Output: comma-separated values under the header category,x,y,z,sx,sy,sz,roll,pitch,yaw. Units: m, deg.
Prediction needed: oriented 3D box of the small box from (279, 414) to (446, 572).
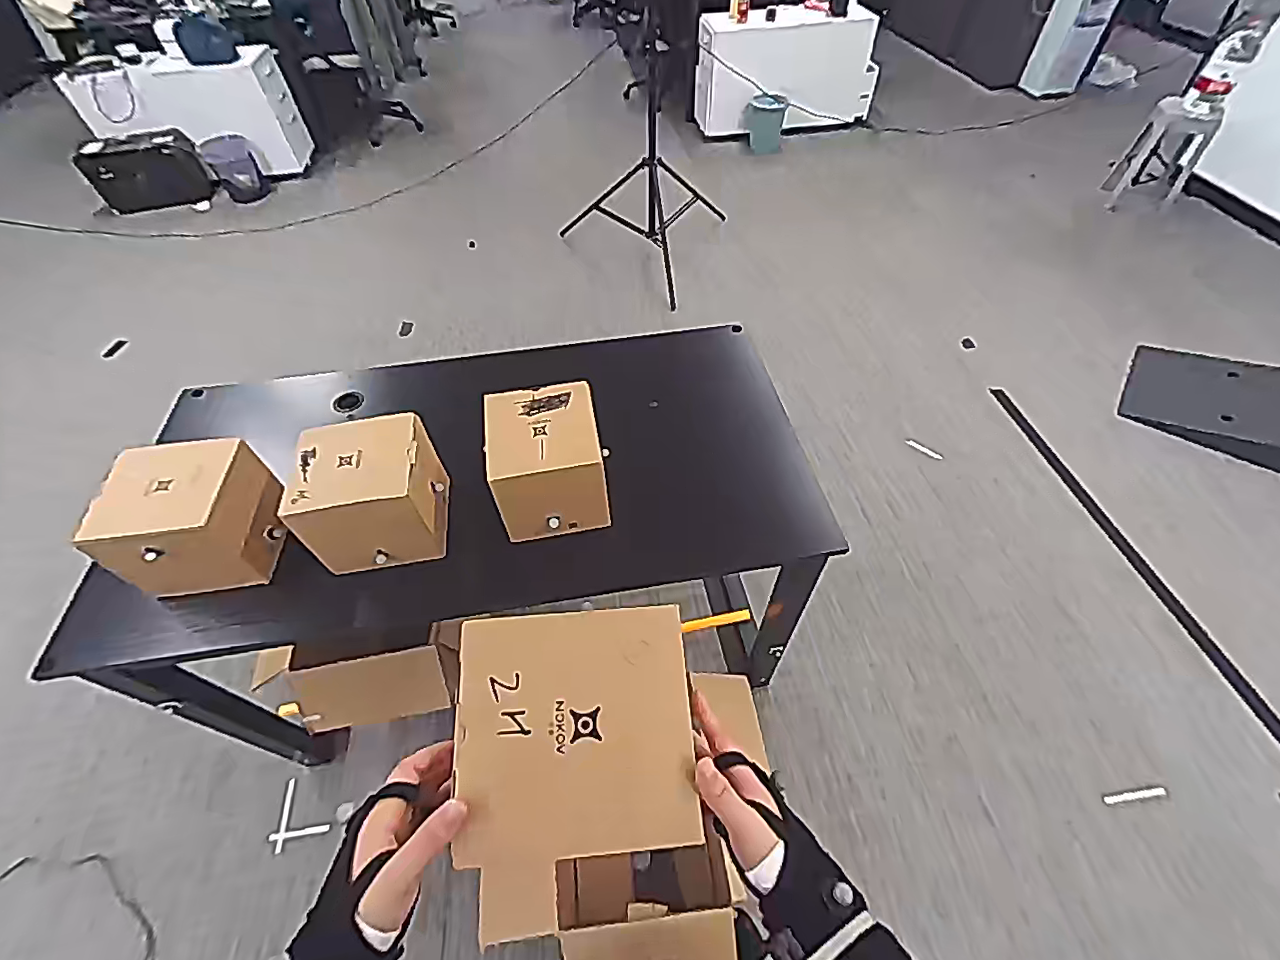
category,x,y,z,sx,sy,sz,roll,pitch,yaw
small box,-0.410,0.023,0.838,0.179,0.176,0.168,-9,52,-7

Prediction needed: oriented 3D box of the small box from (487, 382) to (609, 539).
category,x,y,z,sx,sy,sz,roll,pitch,yaw
small box,-0.145,-0.030,0.870,0.168,0.176,0.179,-10,53,-6

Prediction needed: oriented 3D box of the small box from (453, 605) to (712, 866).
category,x,y,z,sx,sy,sz,roll,pitch,yaw
small box,-0.045,0.210,0.465,0.179,0.176,0.168,-4,65,-3

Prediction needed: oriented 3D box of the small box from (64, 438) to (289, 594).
category,x,y,z,sx,sy,sz,roll,pitch,yaw
small box,-0.670,0.059,0.817,0.179,0.176,0.168,-6,52,-4
